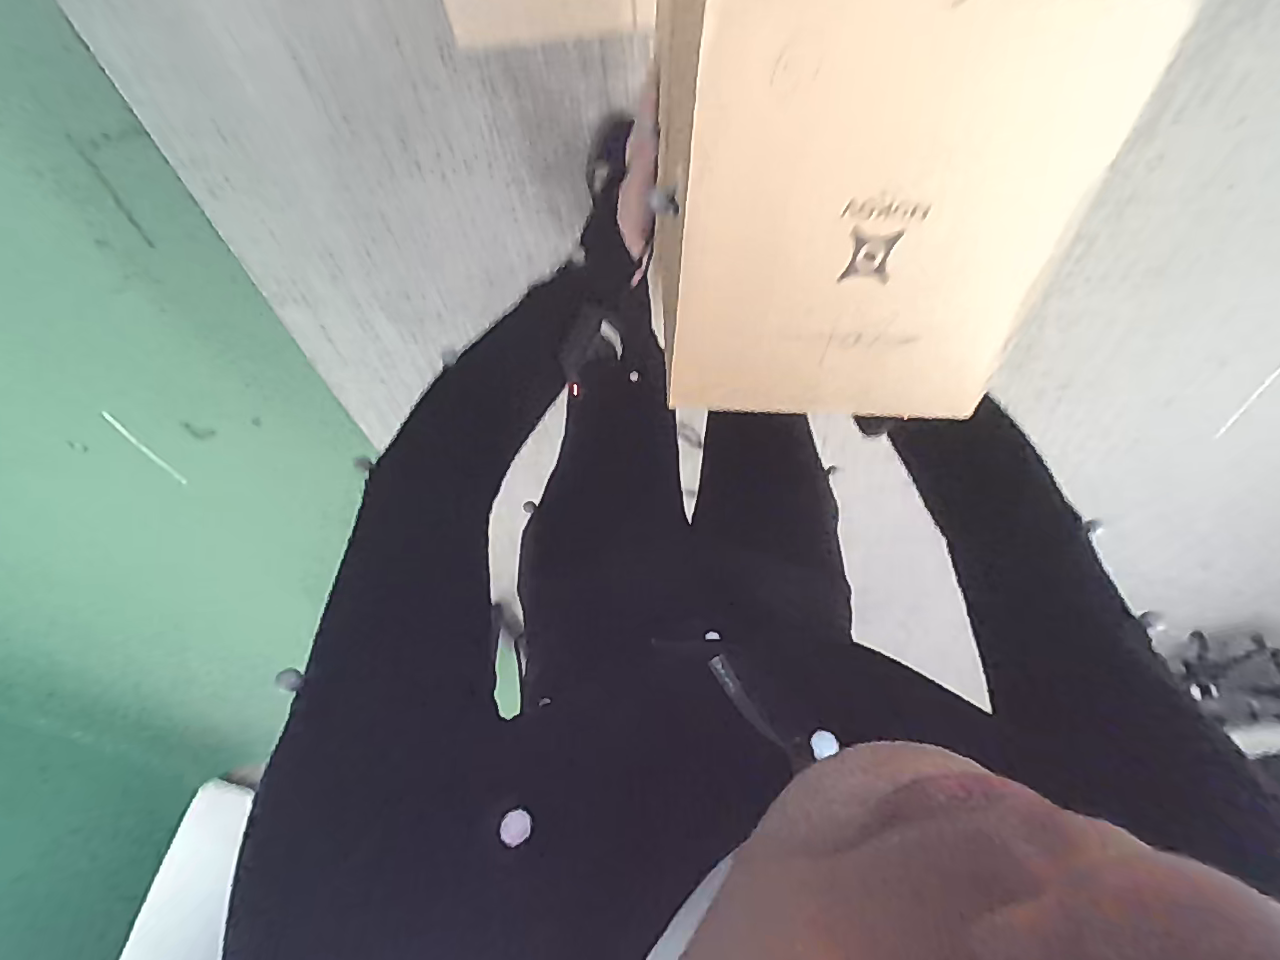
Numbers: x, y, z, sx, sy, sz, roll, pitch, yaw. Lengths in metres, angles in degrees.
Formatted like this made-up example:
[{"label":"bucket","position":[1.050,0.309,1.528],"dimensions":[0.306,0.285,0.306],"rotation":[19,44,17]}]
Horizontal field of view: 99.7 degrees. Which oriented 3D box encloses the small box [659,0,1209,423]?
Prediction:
[{"label":"small box","position":[0.097,-0.150,0.282],"dimensions":[0.168,0.176,0.179],"rotation":[2,133,-1]}]
